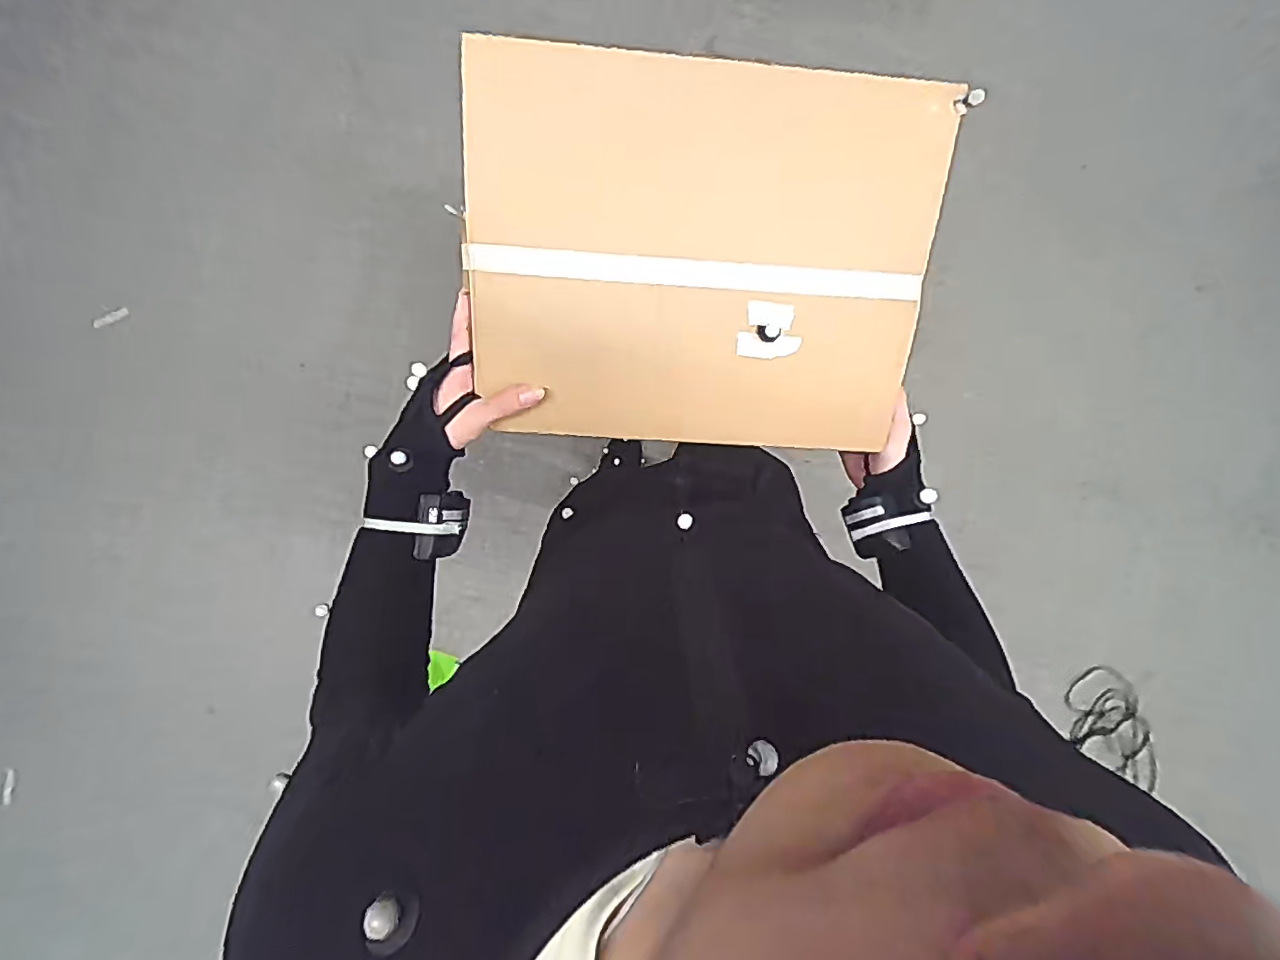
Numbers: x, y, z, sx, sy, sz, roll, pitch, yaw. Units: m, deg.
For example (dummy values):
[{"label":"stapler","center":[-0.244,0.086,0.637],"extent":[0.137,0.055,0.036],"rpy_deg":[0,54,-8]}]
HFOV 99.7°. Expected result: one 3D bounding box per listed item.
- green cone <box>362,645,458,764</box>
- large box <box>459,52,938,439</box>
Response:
[{"label":"green cone","center":[-0.657,0.632,1.462],"extent":[0.200,0.368,0.202],"rpy_deg":[21,95,-7]},{"label":"large box","center":[0.038,-0.238,0.628],"extent":[0.408,0.320,0.320],"rpy_deg":[2,110,-4]}]
